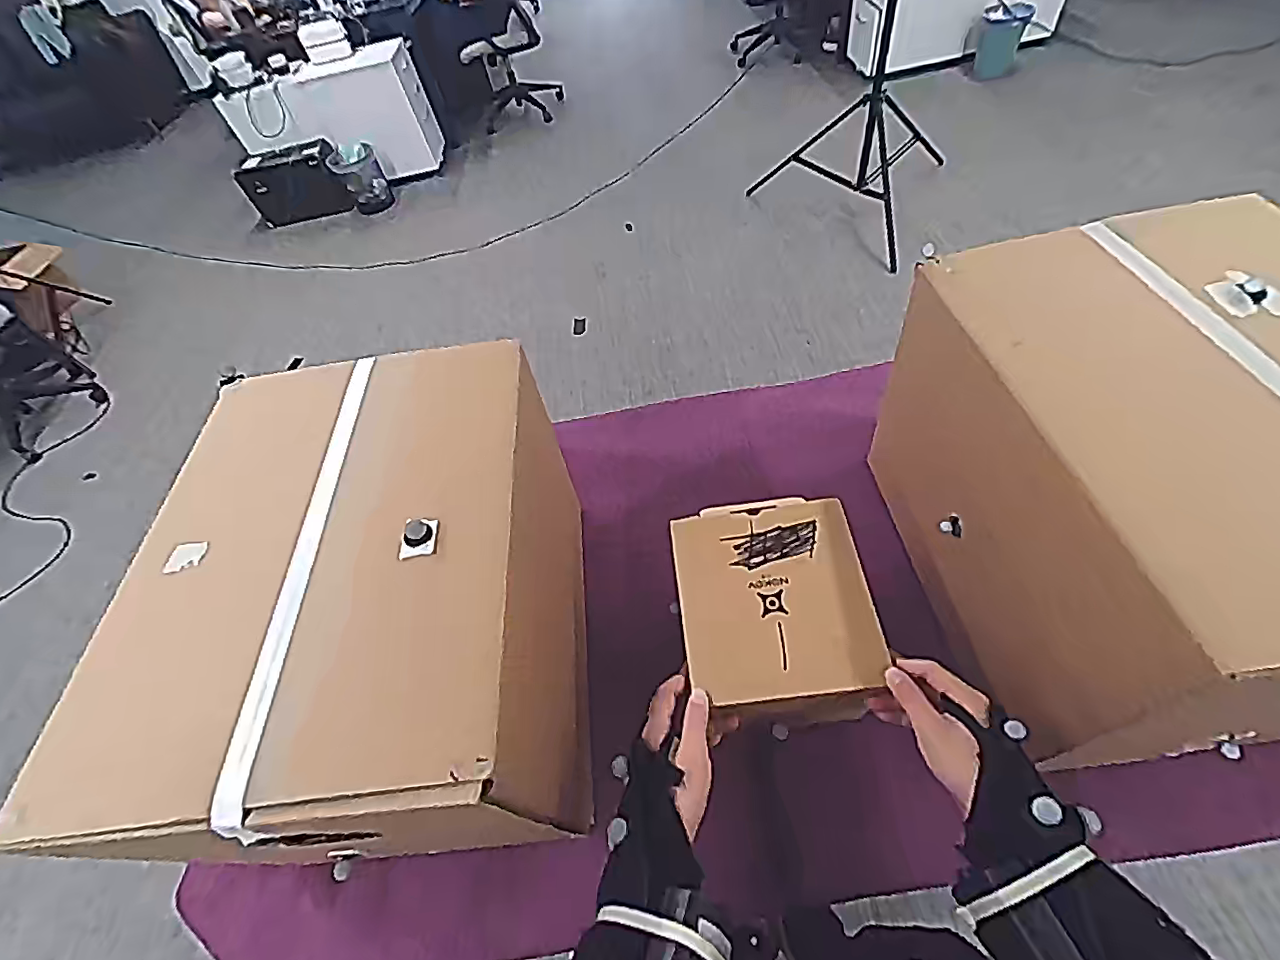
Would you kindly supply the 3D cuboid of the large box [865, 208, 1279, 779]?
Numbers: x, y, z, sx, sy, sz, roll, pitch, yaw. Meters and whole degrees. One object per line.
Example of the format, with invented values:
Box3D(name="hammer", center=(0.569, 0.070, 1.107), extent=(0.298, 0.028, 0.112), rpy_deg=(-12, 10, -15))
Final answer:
Box3D(name="large box", center=(0.455, 0.015, 0.513), extent=(0.320, 0.320, 0.408), rpy_deg=(-10, 51, 3))
